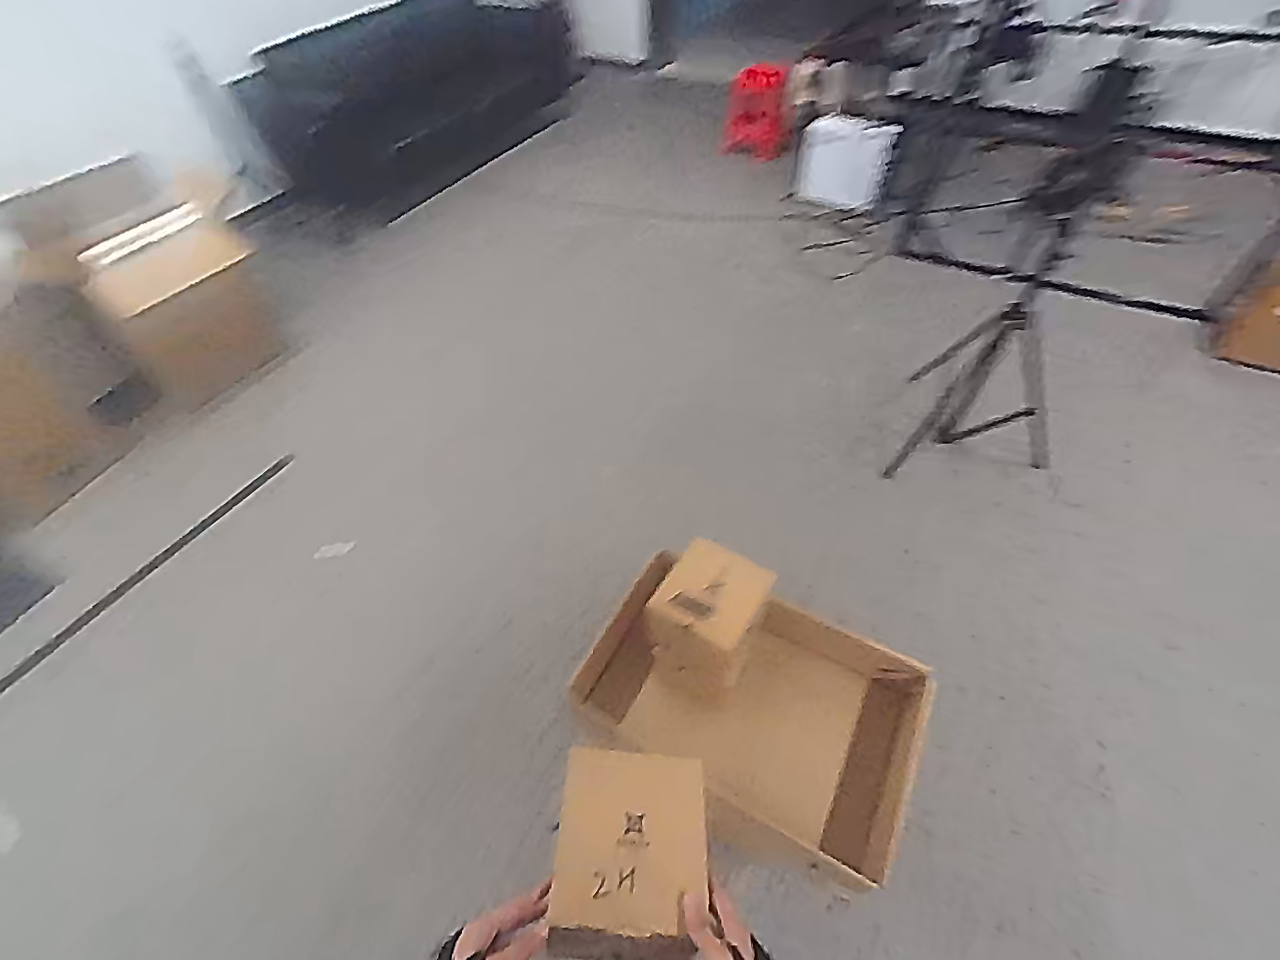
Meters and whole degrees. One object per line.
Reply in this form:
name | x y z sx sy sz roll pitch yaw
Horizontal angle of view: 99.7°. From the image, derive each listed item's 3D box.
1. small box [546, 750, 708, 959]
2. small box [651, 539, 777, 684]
small box | -0.019 0.459 0.654 0.168 0.176 0.179 7 40 -3
small box | 0.137 0.251 1.018 0.168 0.176 0.179 27 57 22
